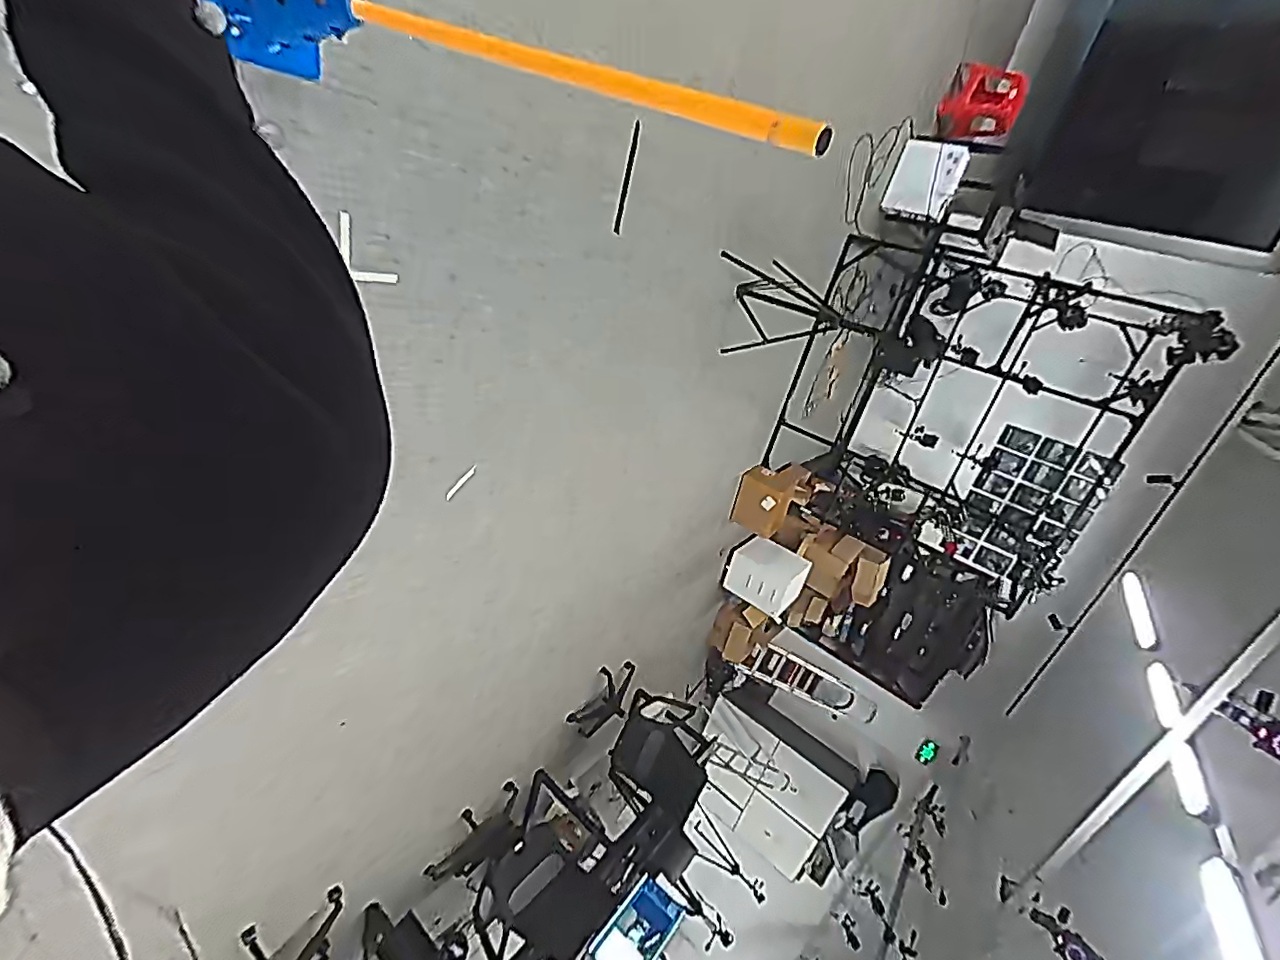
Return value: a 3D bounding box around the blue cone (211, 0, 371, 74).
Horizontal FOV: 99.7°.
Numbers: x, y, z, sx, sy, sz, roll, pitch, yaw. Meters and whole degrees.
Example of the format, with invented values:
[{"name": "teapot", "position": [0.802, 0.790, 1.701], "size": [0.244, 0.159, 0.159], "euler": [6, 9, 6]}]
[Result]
[{"name": "blue cone", "position": [-0.587, -0.836, 0.951], "size": [0.193, 0.380, 0.192], "euler": [-22, 132, -49]}]
